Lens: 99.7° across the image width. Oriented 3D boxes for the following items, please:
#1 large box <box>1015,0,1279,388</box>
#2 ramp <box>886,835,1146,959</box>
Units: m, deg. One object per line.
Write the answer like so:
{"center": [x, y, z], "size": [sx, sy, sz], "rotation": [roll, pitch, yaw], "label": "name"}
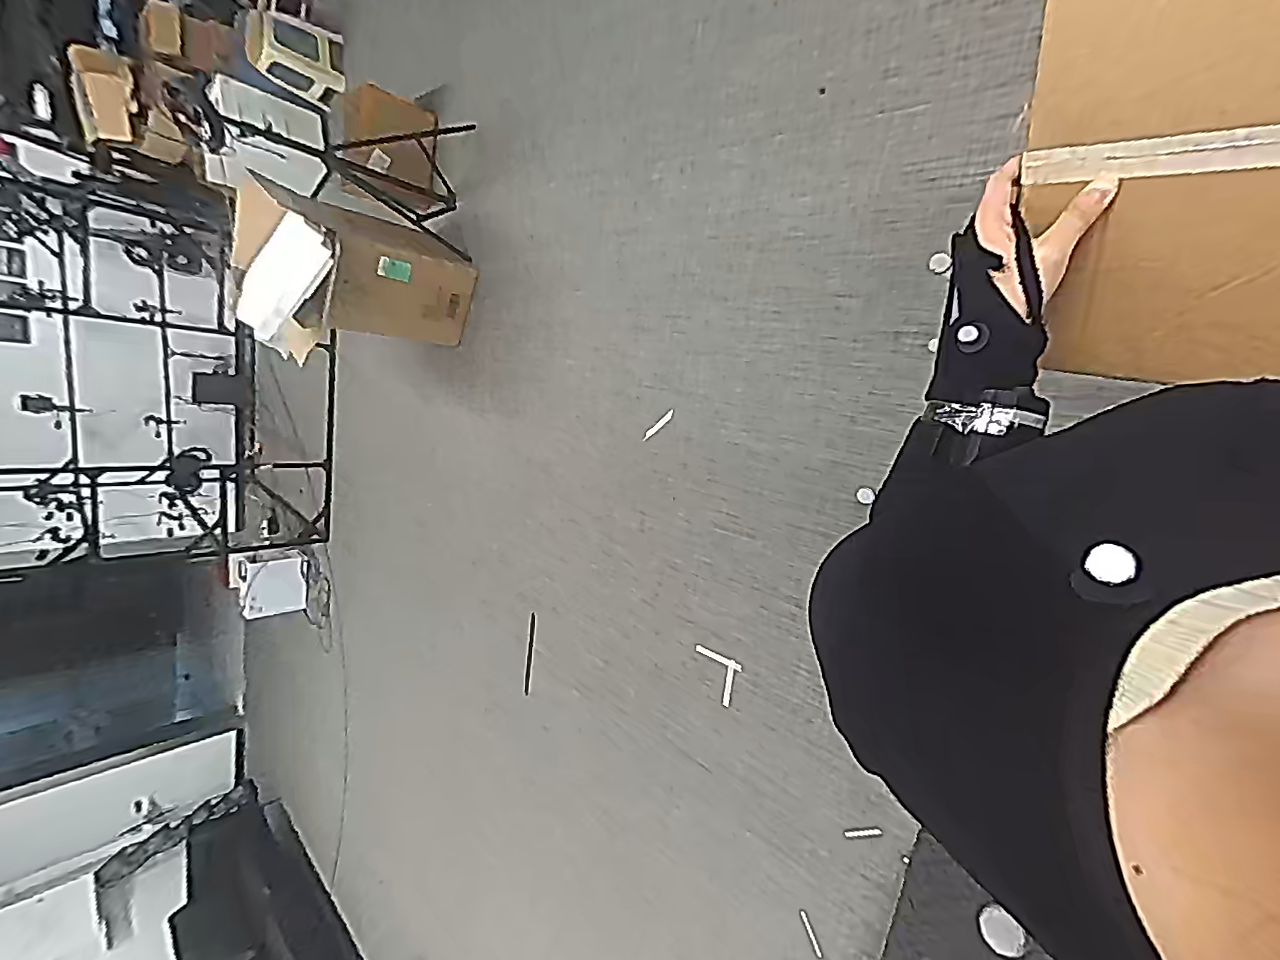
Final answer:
{"center": [0.508, -0.255, 0.310], "size": [0.408, 0.320, 0.320], "rotation": [21, 144, 43], "label": "large box"}
{"center": [0.762, 1.405, 1.213], "size": [0.509, 0.206, 0.991], "rotation": [15, 102, 42], "label": "ramp"}
